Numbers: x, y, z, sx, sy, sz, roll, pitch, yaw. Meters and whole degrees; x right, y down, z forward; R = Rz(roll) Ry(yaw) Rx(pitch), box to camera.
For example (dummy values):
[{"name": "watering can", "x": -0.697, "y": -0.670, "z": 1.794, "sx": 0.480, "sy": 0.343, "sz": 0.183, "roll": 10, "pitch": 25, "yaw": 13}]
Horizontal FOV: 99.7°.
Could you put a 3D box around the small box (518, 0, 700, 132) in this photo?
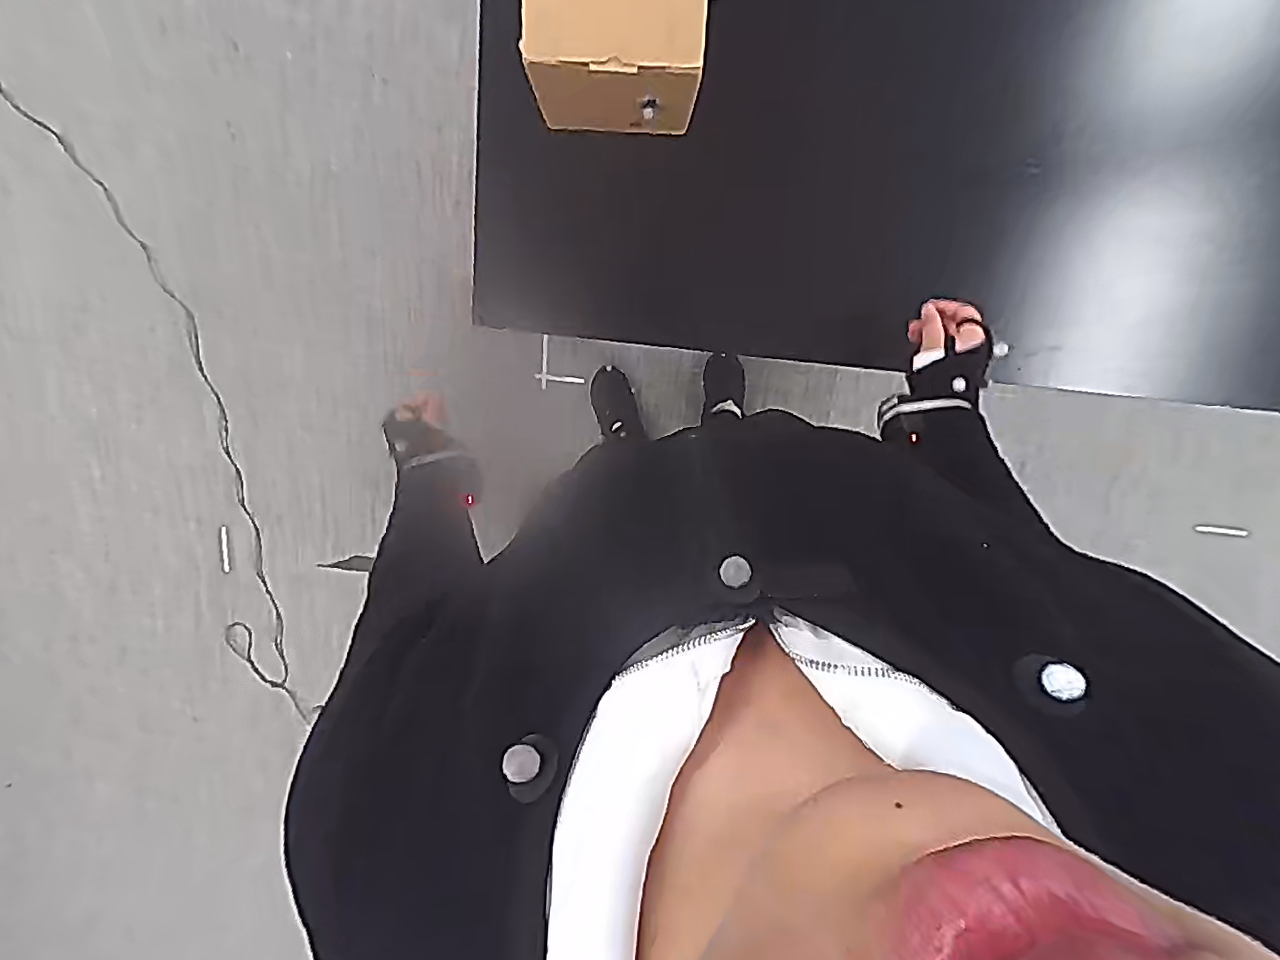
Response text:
[{"name": "small box", "x": -0.028, "y": -0.480, "z": 0.550, "sx": 0.168, "sy": 0.176, "sz": 0.179, "roll": 1, "pitch": 104, "yaw": -3}]
